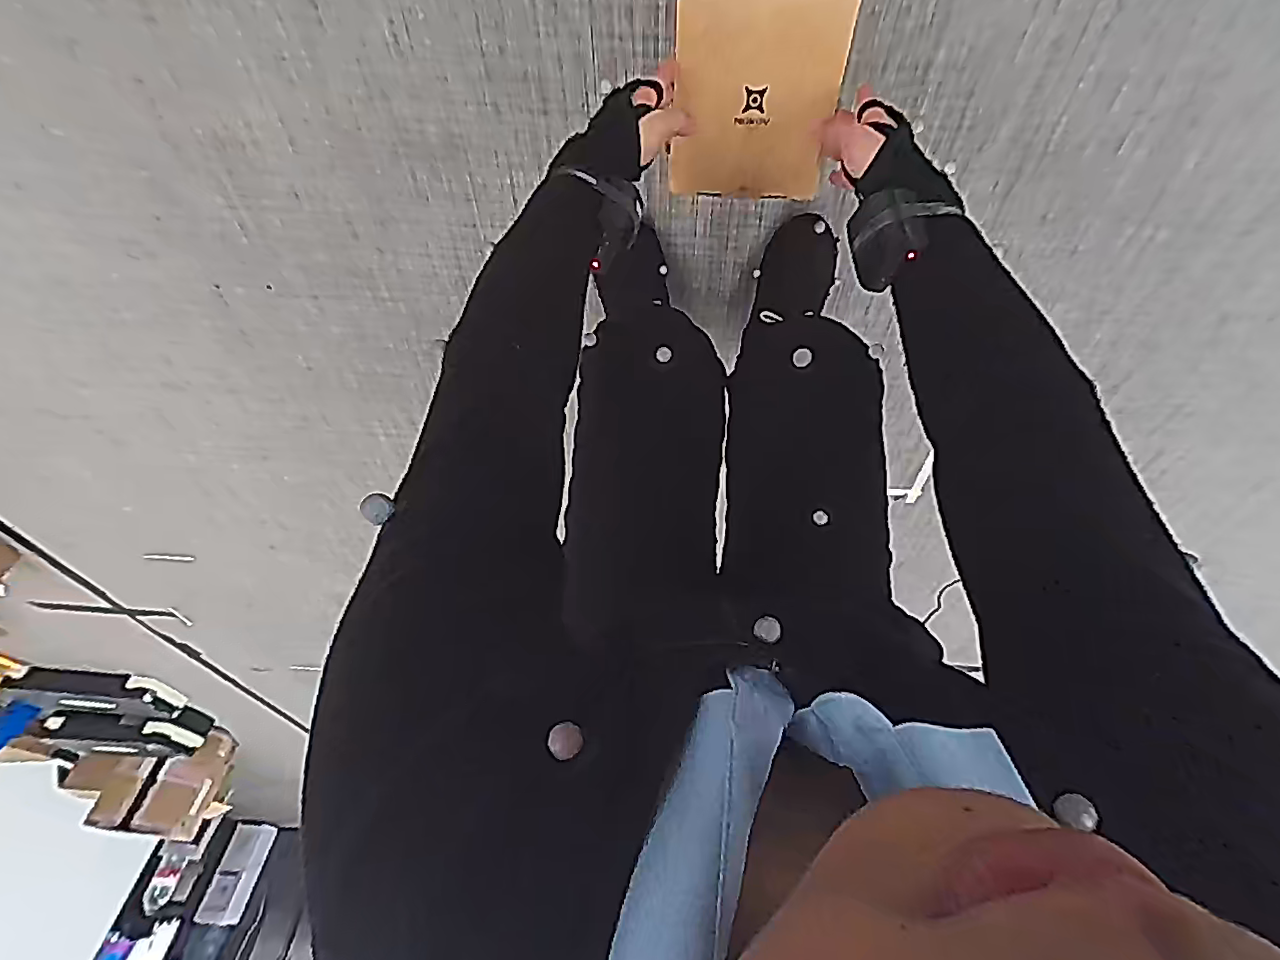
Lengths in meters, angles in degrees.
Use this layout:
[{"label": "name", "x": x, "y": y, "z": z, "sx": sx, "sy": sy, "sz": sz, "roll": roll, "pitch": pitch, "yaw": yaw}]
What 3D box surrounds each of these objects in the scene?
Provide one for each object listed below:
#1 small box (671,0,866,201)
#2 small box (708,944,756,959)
[{"label": "small box", "x": 0.123, "y": -0.431, "z": 0.591, "sx": 0.168, "sy": 0.176, "sz": 0.179, "roll": 4, "pitch": 138, "yaw": 3}, {"label": "small box", "x": 0.326, "y": 1.765, "z": 1.913, "sx": 0.168, "sy": 0.176, "sz": 0.179, "roll": 1, "pitch": 138, "yaw": 5}]
